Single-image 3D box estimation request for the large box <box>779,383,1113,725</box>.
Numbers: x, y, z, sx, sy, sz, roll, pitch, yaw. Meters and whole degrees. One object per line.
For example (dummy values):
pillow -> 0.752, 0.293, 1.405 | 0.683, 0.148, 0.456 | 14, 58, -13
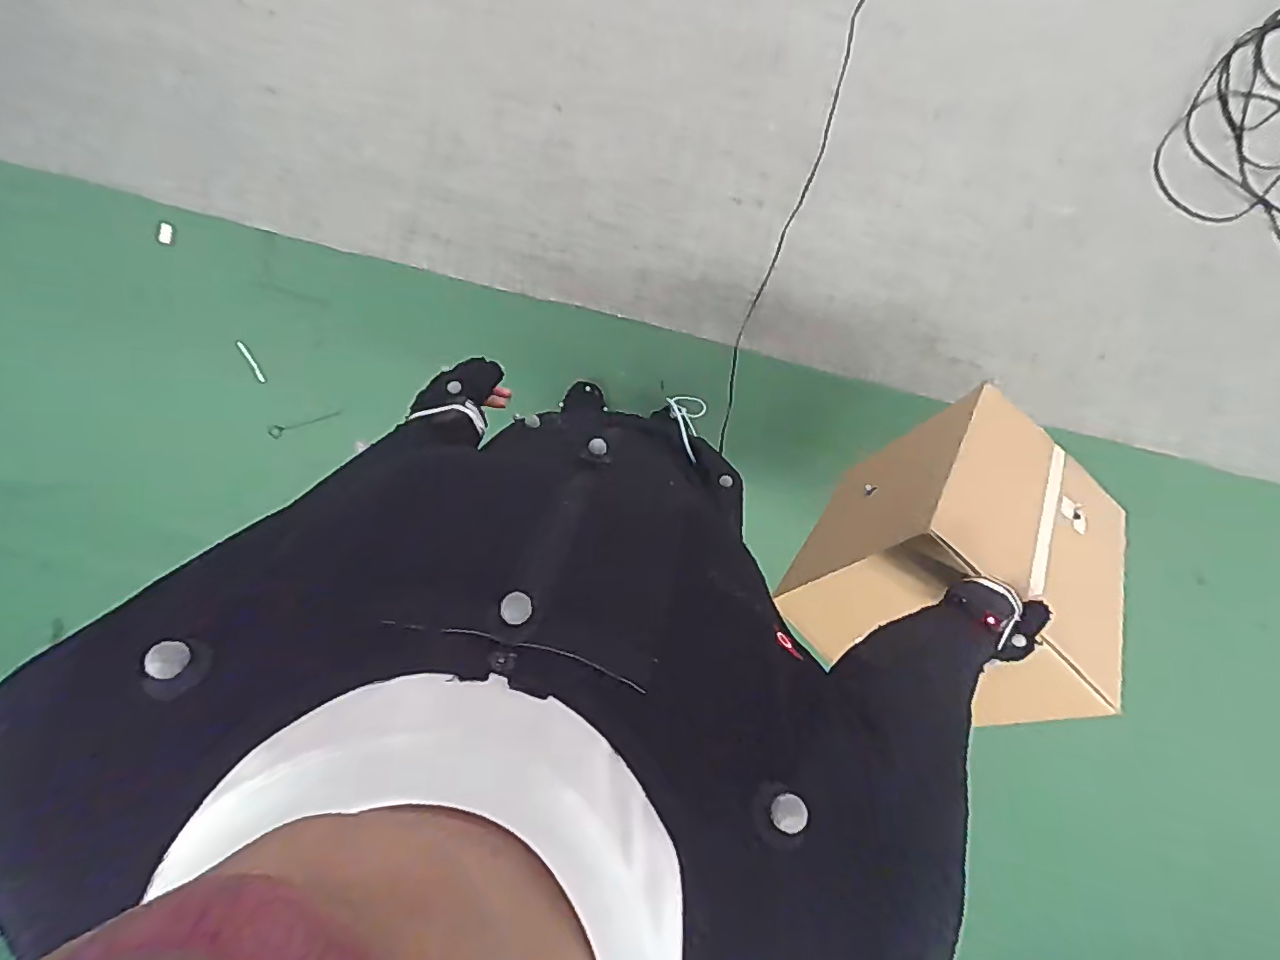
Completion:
large box -> 0.497, 0.121, 0.886 | 0.320, 0.408, 0.320 | 45, 142, 0
